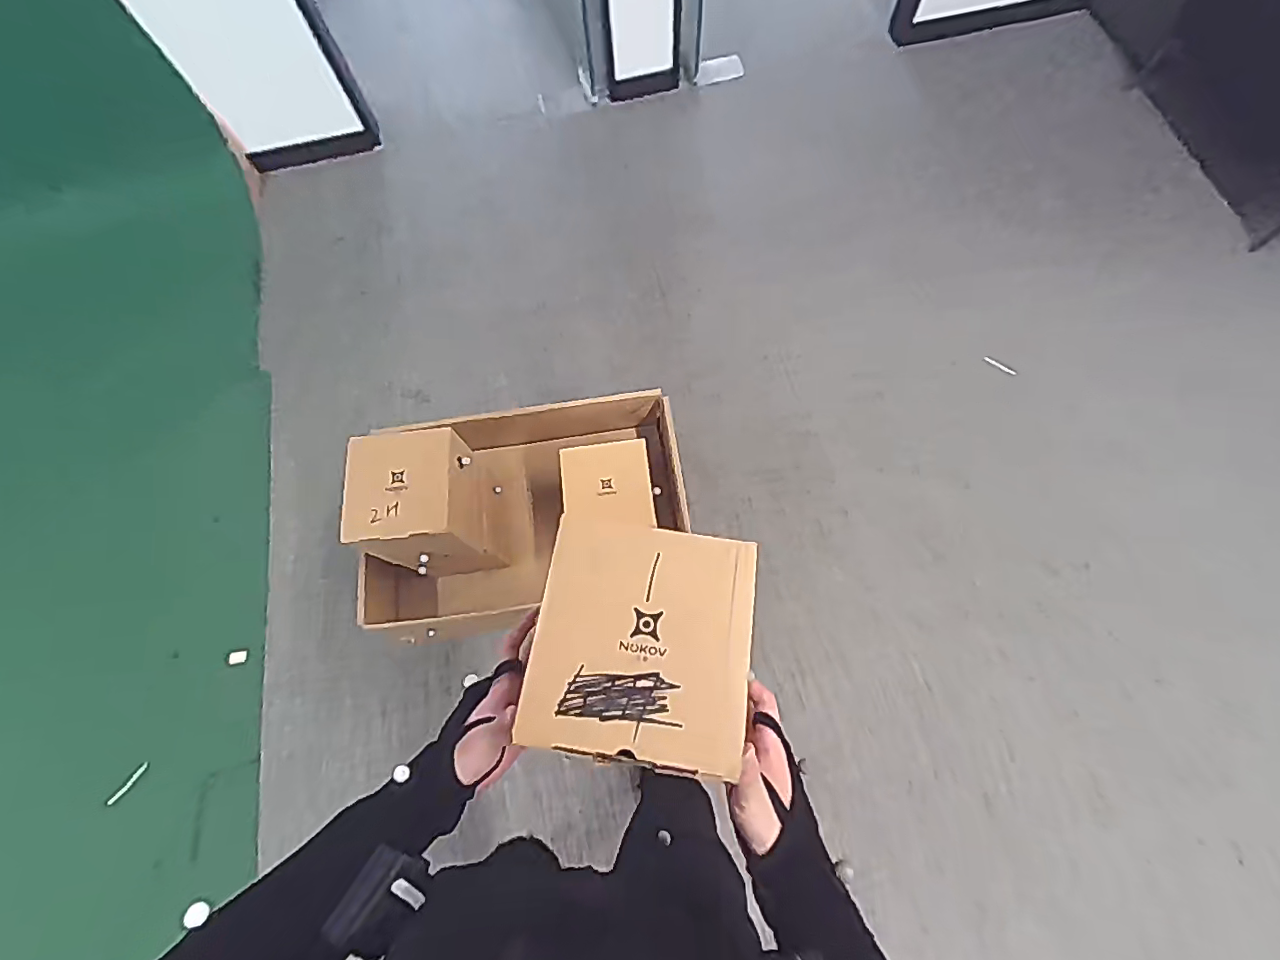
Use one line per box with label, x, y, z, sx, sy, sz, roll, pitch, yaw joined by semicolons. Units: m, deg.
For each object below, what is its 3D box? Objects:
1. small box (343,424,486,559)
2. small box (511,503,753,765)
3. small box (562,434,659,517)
small box;-0.368;0.025;0.912;0.168;0.176;0.179;-6;71;2
small box;0.000;0.140;0.486;0.168;0.176;0.179;8;66;3
small box;-0.055;0.028;1.070;0.168;0.176;0.179;-8;72;0
